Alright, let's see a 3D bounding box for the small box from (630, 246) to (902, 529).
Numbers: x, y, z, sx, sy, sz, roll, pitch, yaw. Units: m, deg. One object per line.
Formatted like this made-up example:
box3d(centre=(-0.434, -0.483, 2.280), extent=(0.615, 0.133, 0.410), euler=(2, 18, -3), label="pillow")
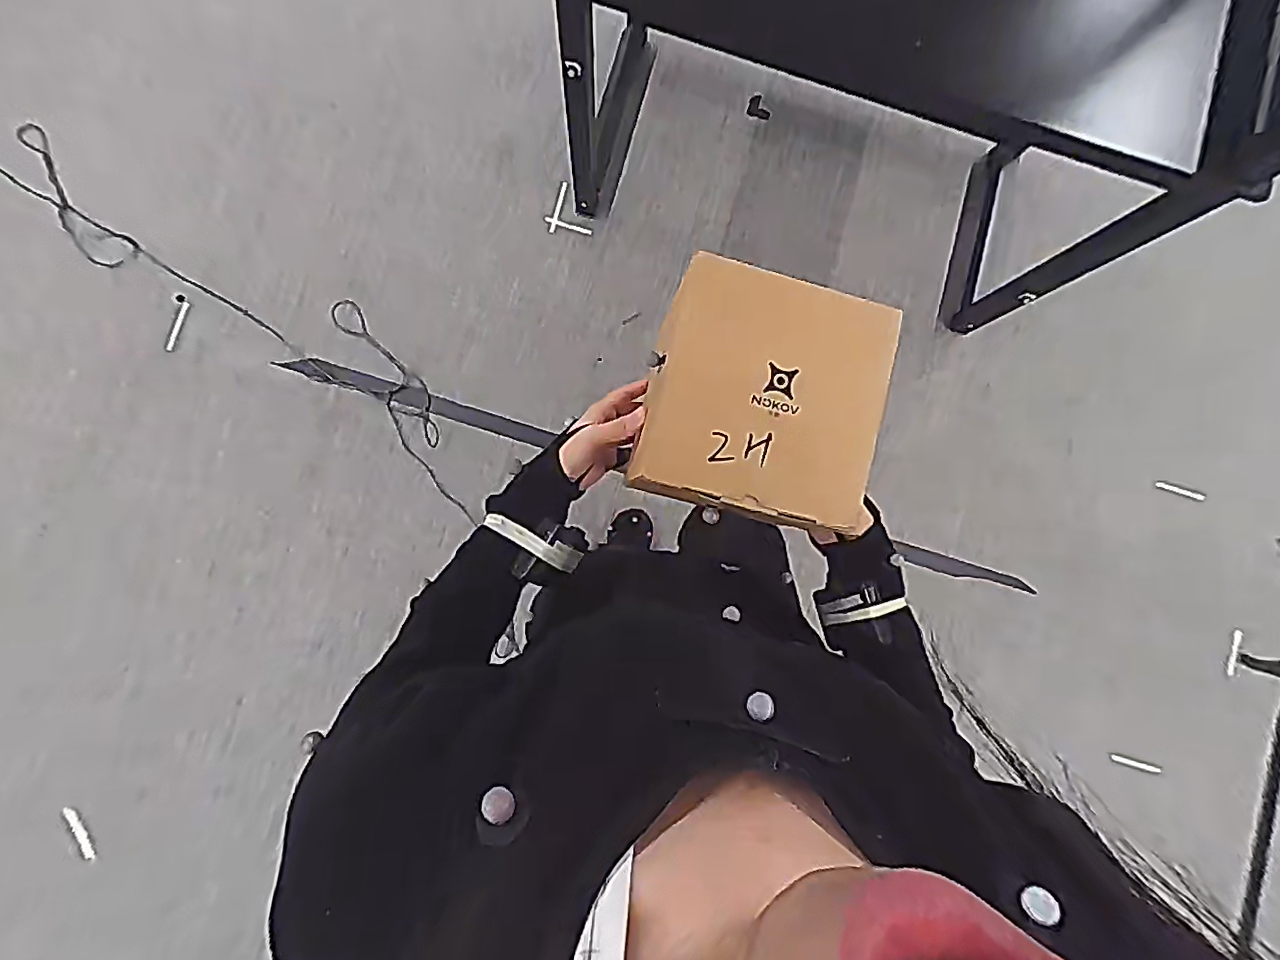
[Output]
box3d(centre=(0.092, -0.064, 0.474), extent=(0.168, 0.176, 0.179), euler=(15, 87, -5), label="small box")
